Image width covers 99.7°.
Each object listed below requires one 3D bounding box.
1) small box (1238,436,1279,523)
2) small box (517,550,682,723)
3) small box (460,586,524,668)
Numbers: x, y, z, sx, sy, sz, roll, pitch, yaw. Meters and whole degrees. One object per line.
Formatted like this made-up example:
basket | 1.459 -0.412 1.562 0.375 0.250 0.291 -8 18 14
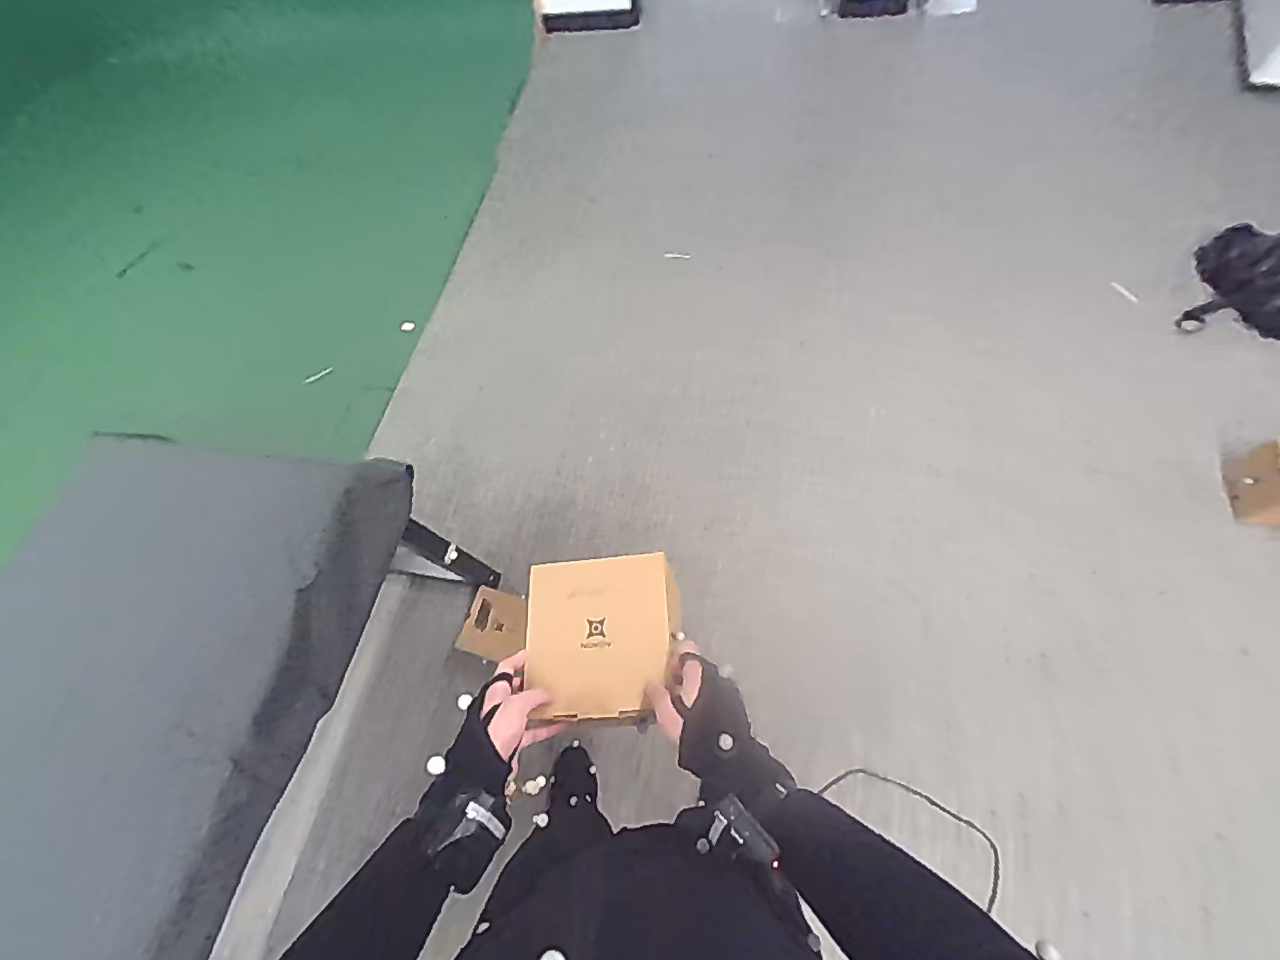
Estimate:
small box | 1.583 0.004 1.276 0.179 0.176 0.168 5 68 13
small box | -0.041 0.204 0.677 0.168 0.176 0.179 -6 60 7
small box | -0.338 0.400 1.439 0.179 0.176 0.168 13 69 14
